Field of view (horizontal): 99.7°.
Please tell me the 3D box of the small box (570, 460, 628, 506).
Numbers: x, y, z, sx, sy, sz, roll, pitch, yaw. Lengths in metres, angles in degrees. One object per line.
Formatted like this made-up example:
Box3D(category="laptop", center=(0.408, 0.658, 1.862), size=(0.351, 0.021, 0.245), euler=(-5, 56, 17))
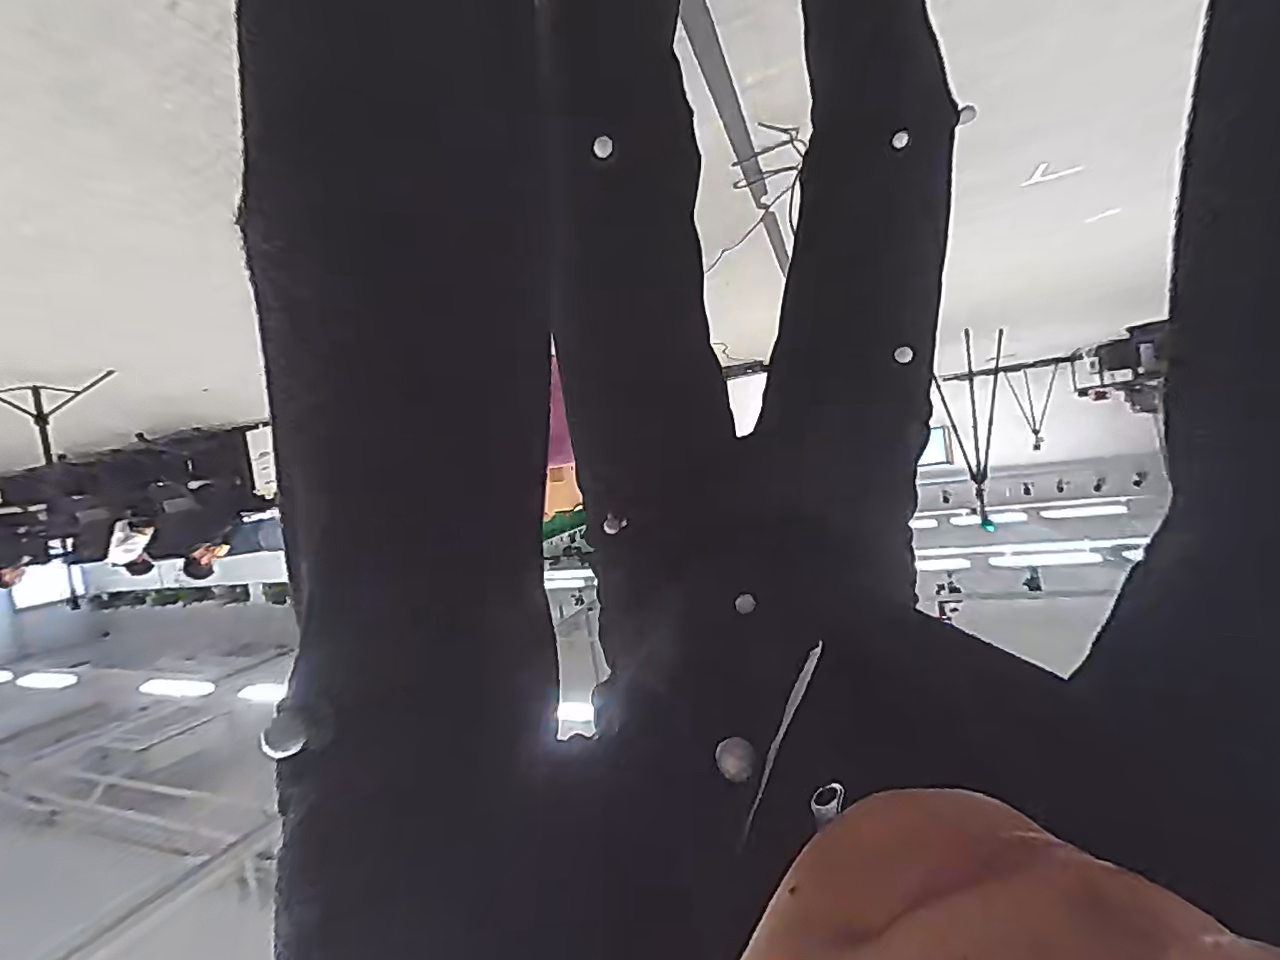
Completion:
Box3D(category="small box", center=(-0.176, 0.007, 2.277), size=(0.179, 0.176, 0.168), euler=(-6, -177, 32))
